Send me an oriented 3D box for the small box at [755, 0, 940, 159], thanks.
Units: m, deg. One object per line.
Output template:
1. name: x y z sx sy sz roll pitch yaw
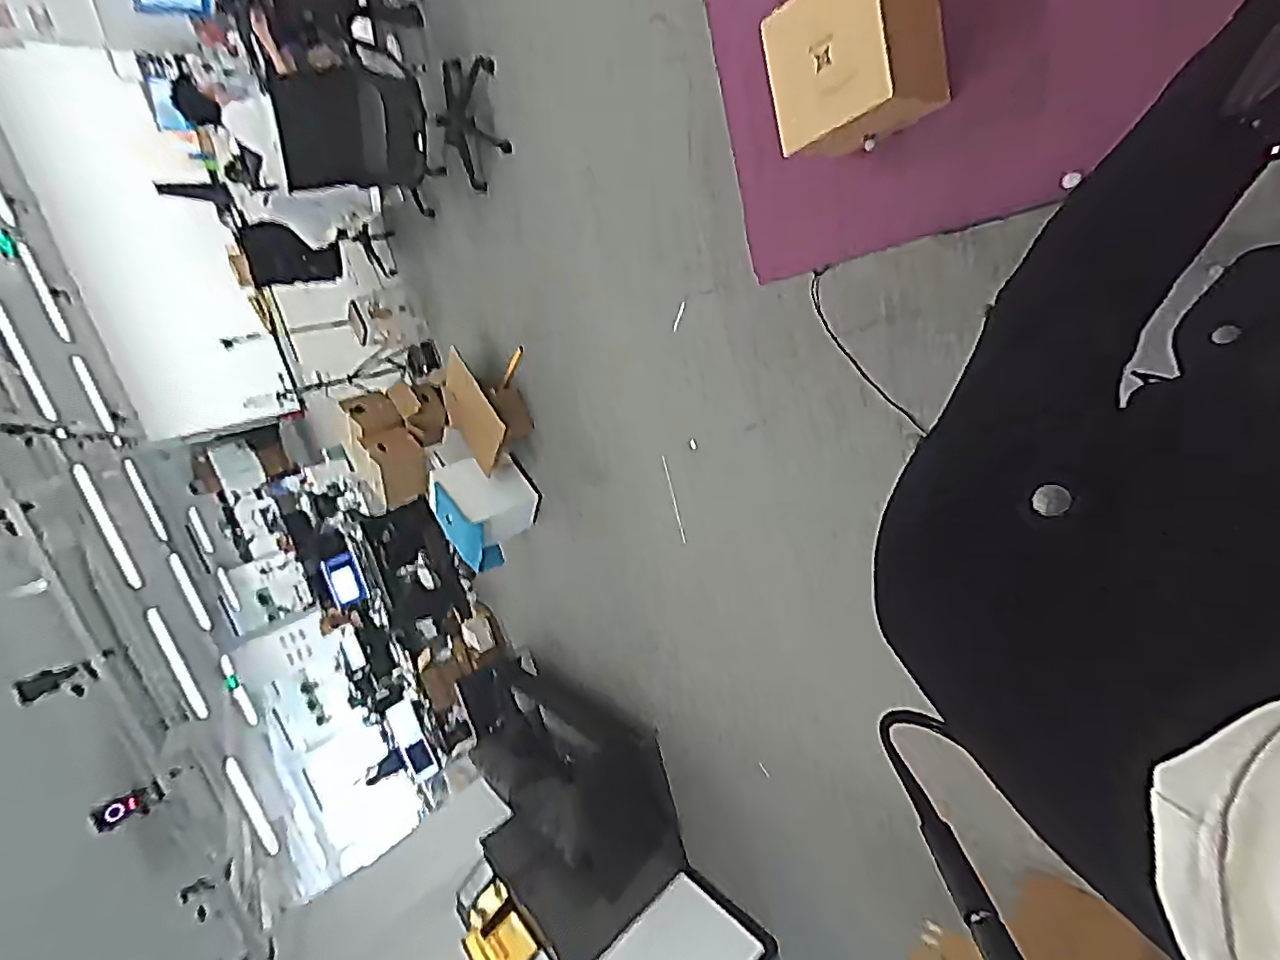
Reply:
1. small box: 0.288 -0.567 0.744 0.168 0.176 0.179 2 111 52
